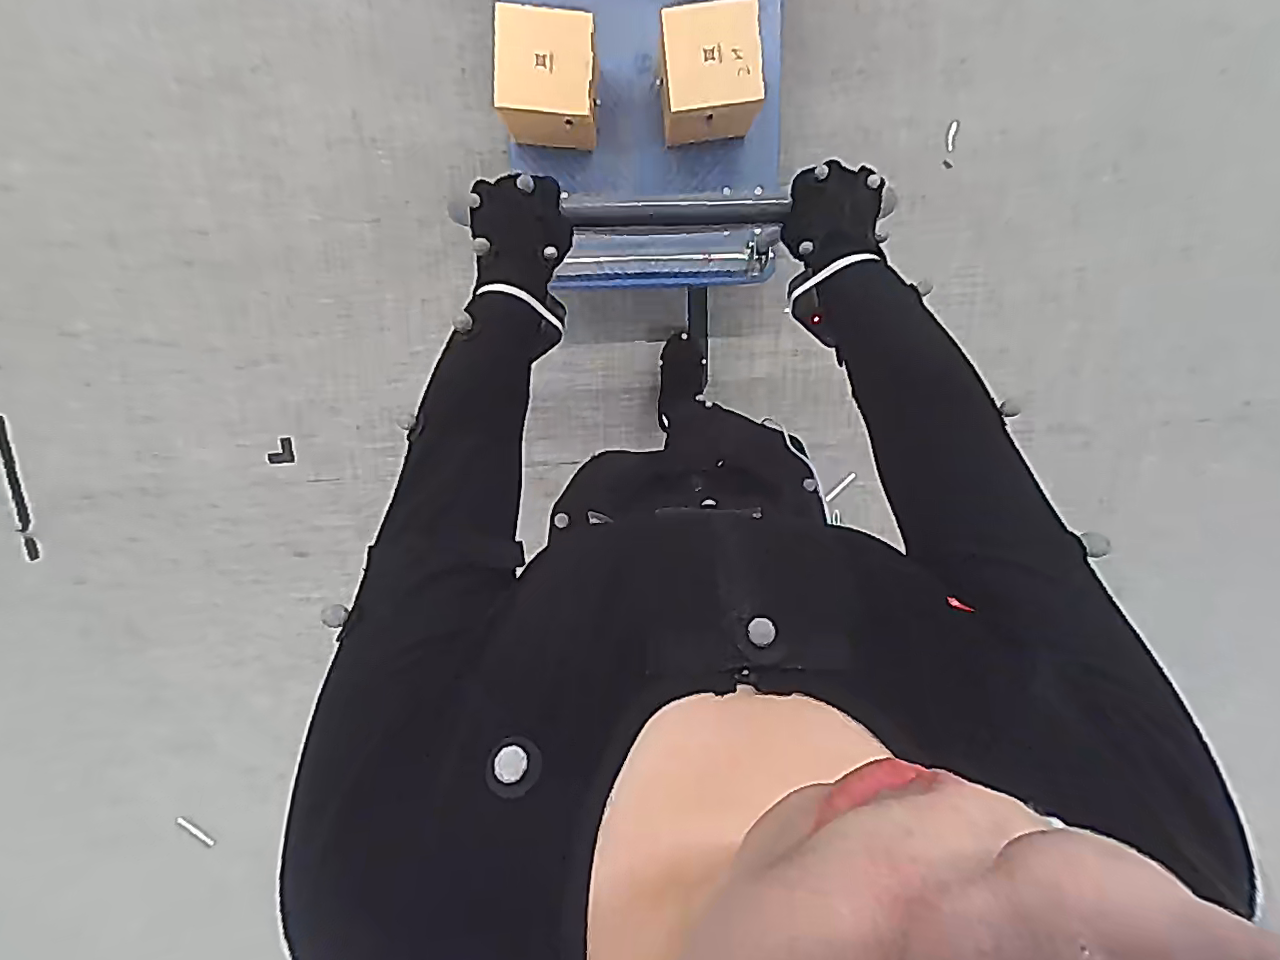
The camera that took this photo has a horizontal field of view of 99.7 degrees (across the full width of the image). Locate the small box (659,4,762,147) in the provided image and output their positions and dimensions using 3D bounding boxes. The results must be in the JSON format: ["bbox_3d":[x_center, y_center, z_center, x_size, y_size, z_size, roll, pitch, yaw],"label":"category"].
[{"bbox_3d":[0.130,-0.777,1.058,0.179,0.176,0.168,-7,103,1],"label":"small box"}]

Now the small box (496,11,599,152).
[{"bbox_3d":[-0.175,-0.764,1.055,0.179,0.176,0.168,3,102,-3],"label":"small box"}]
